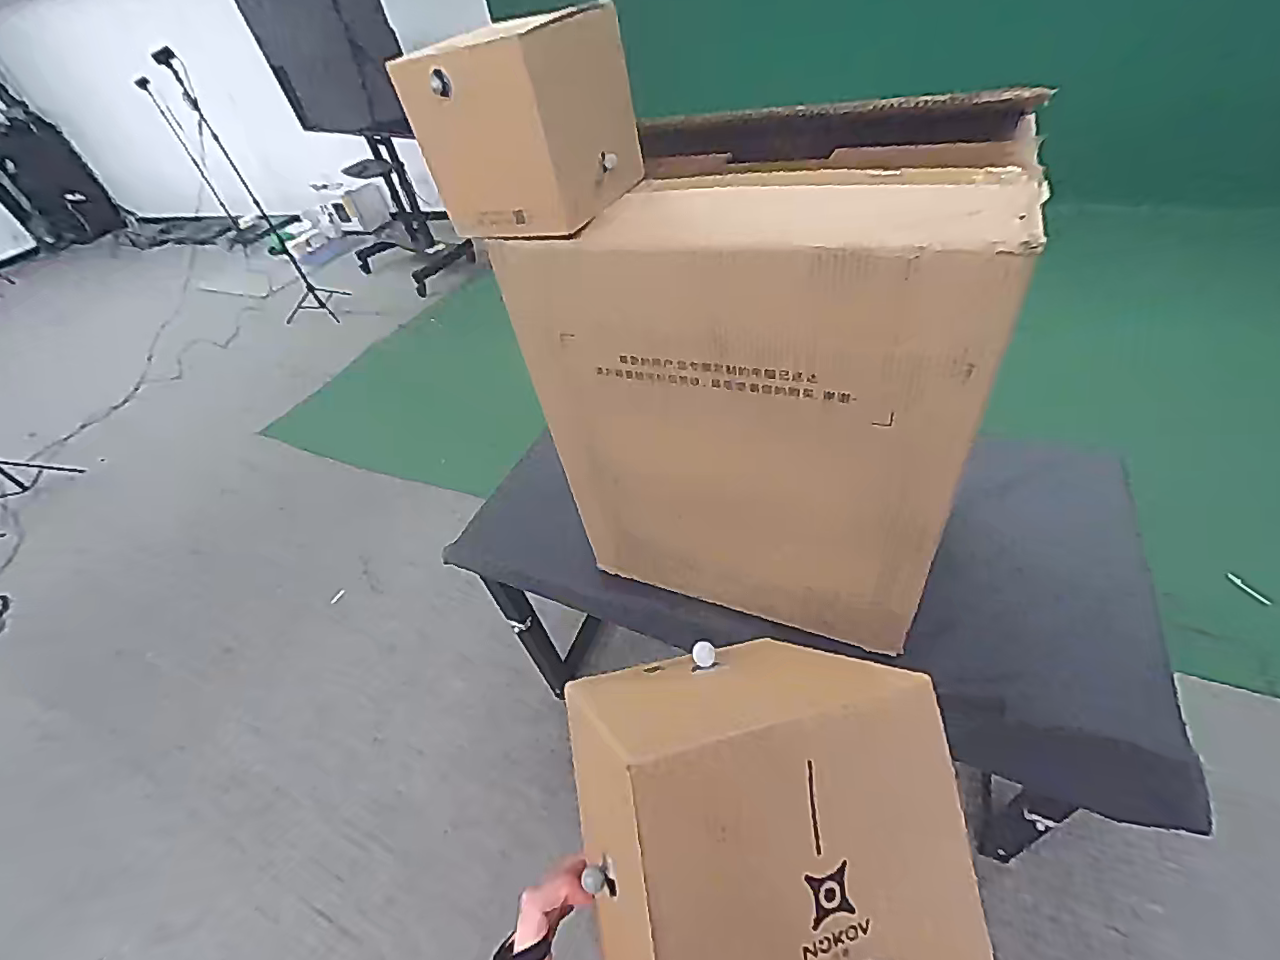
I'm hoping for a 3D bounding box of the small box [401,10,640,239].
[{"bbox_3d":[-0.112,-0.382,0.593,0.168,0.176,0.179,12,48,27],"label":"small box"}]
